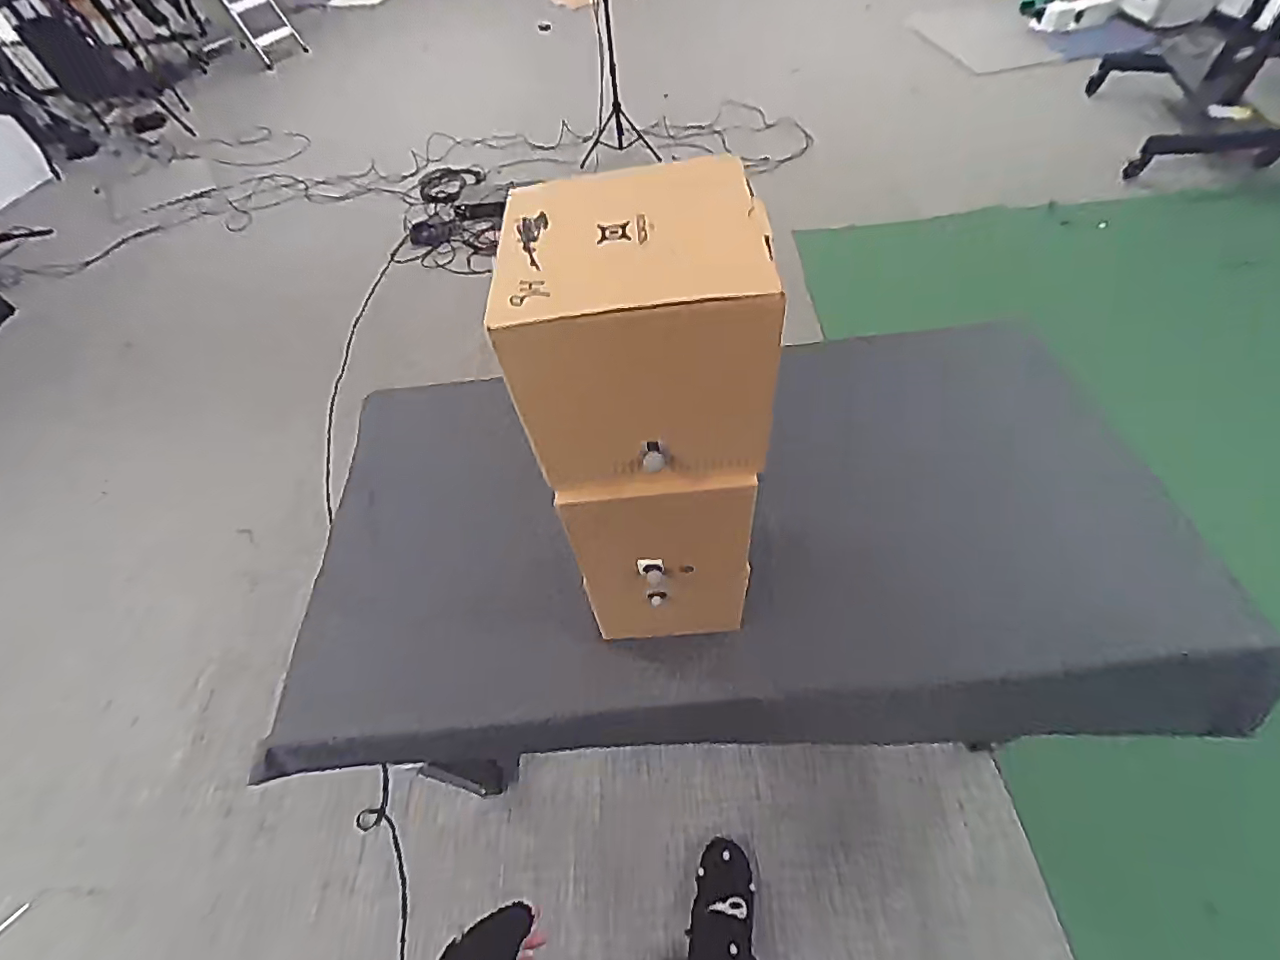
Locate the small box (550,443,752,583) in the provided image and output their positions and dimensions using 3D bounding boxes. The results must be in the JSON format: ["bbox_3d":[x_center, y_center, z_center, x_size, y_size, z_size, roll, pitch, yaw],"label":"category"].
[{"bbox_3d":[0.013,-0.015,0.545,0.168,0.176,0.179,-6,55,4],"label":"small box"}]

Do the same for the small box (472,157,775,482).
[{"bbox_3d":[-0.005,-0.114,0.416,0.179,0.176,0.168,-5,54,4],"label":"small box"}]

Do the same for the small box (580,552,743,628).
[{"bbox_3d":[0.028,0.077,0.677,0.179,0.176,0.168,-3,54,3],"label":"small box"}]
